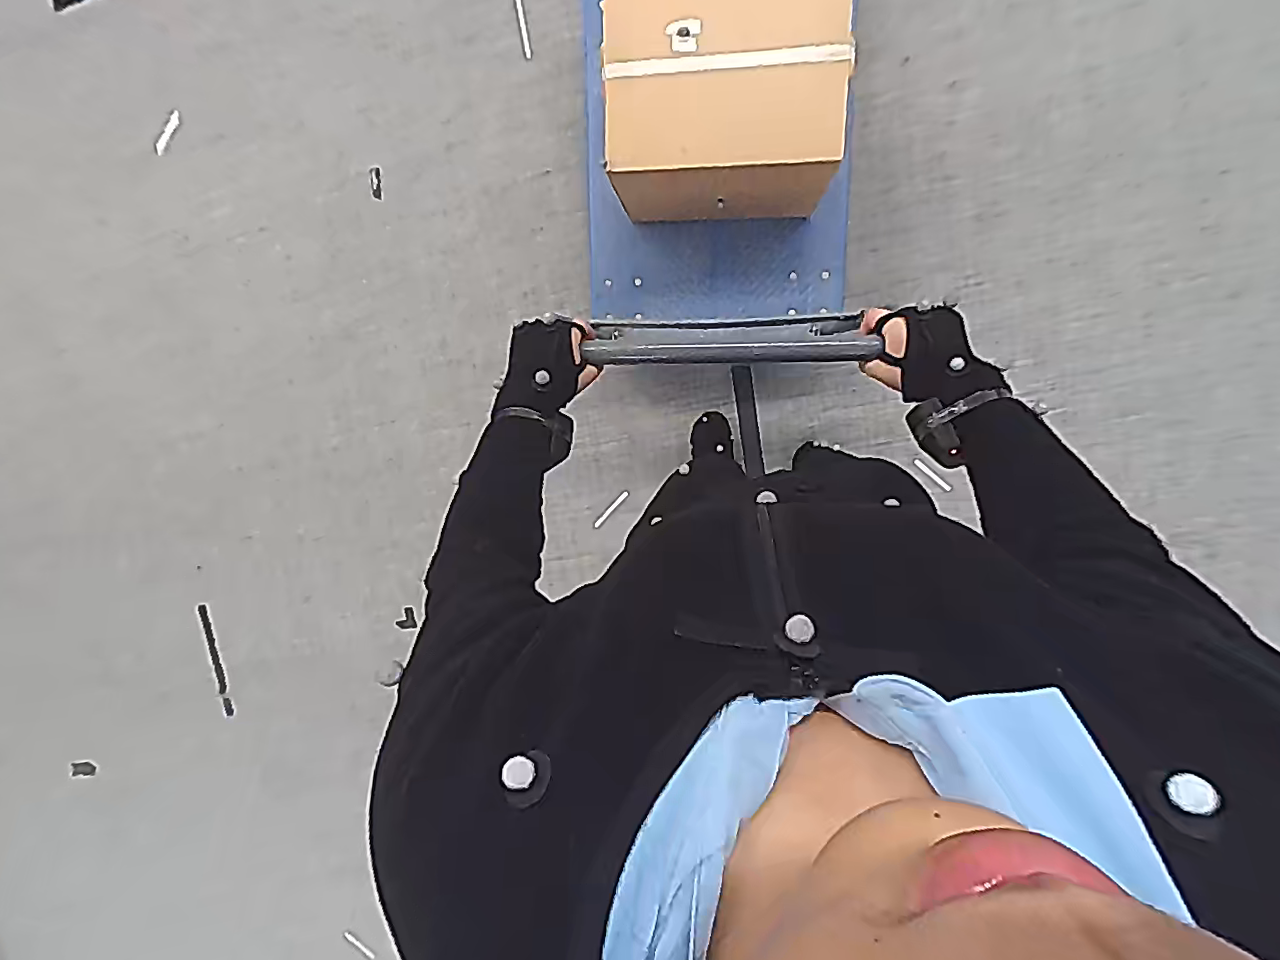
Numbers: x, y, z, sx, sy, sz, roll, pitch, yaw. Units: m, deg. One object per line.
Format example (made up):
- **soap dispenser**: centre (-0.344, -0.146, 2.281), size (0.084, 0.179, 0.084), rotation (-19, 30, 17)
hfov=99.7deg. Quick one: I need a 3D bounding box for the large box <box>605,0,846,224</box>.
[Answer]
- **large box**: centre (0.161, -0.714, 1.058), size (0.408, 0.320, 0.320), rotation (1, 99, 9)
